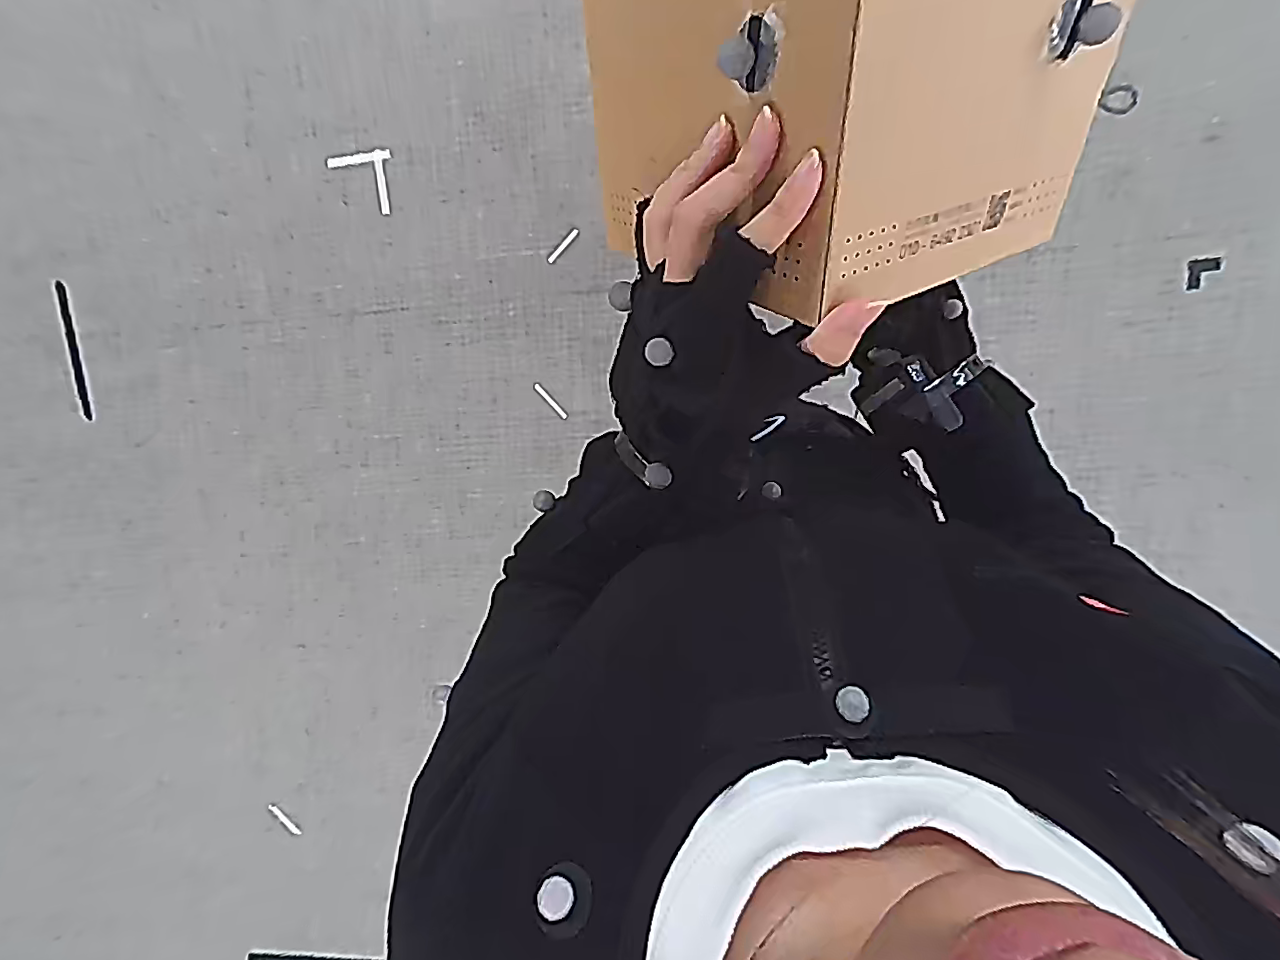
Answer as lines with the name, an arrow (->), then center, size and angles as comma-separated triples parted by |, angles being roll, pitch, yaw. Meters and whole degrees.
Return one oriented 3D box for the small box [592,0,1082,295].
small box -> 0.091, -0.207, 0.275 | 0.168, 0.179, 0.176 | -24, 131, -22
